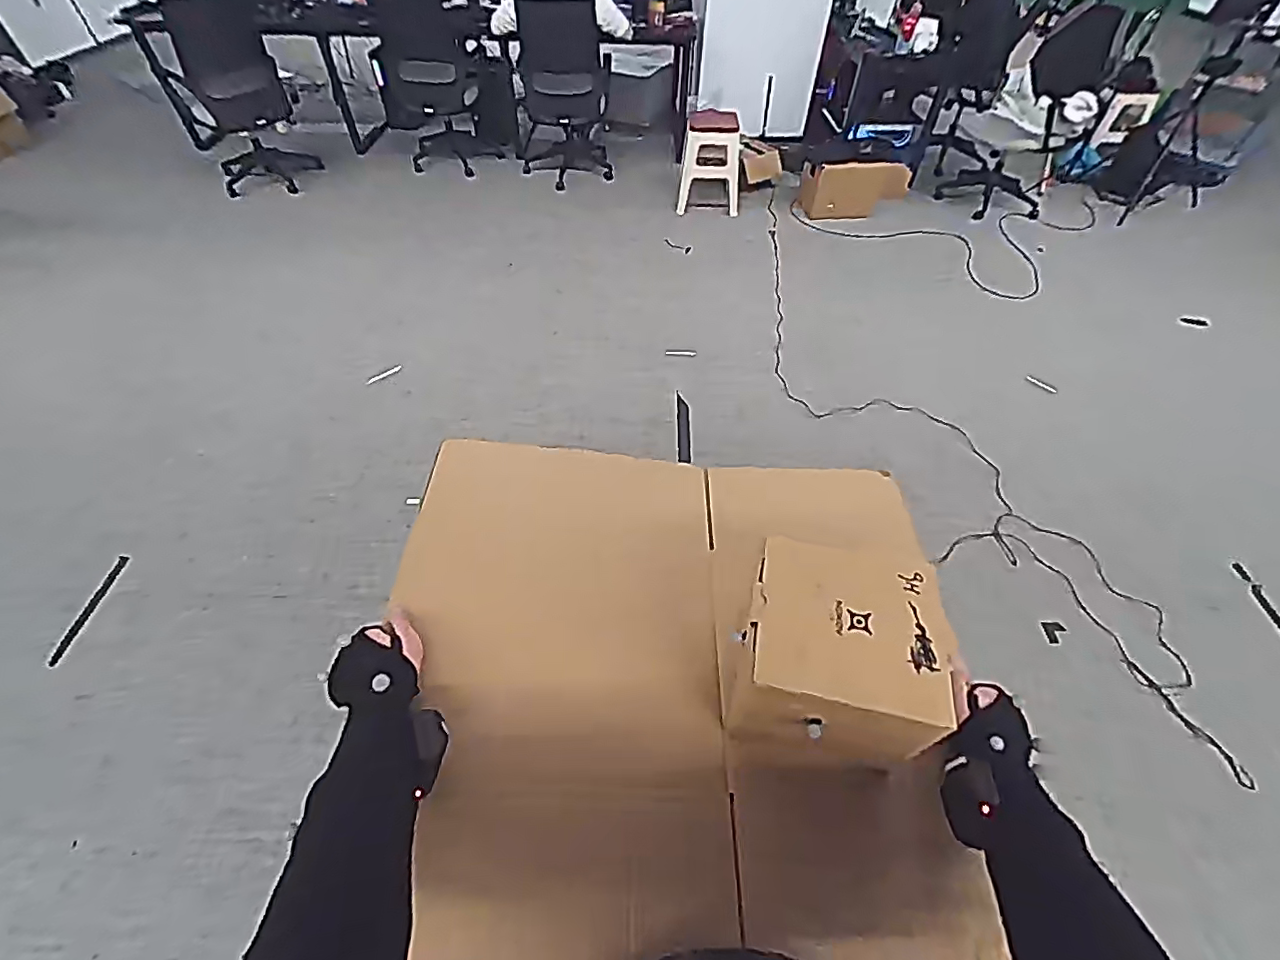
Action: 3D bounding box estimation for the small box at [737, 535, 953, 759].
[{"bbox_3d":[0.206,0.184,0.589,0.179,0.176,0.168,9,52,9],"label":"small box"}]
